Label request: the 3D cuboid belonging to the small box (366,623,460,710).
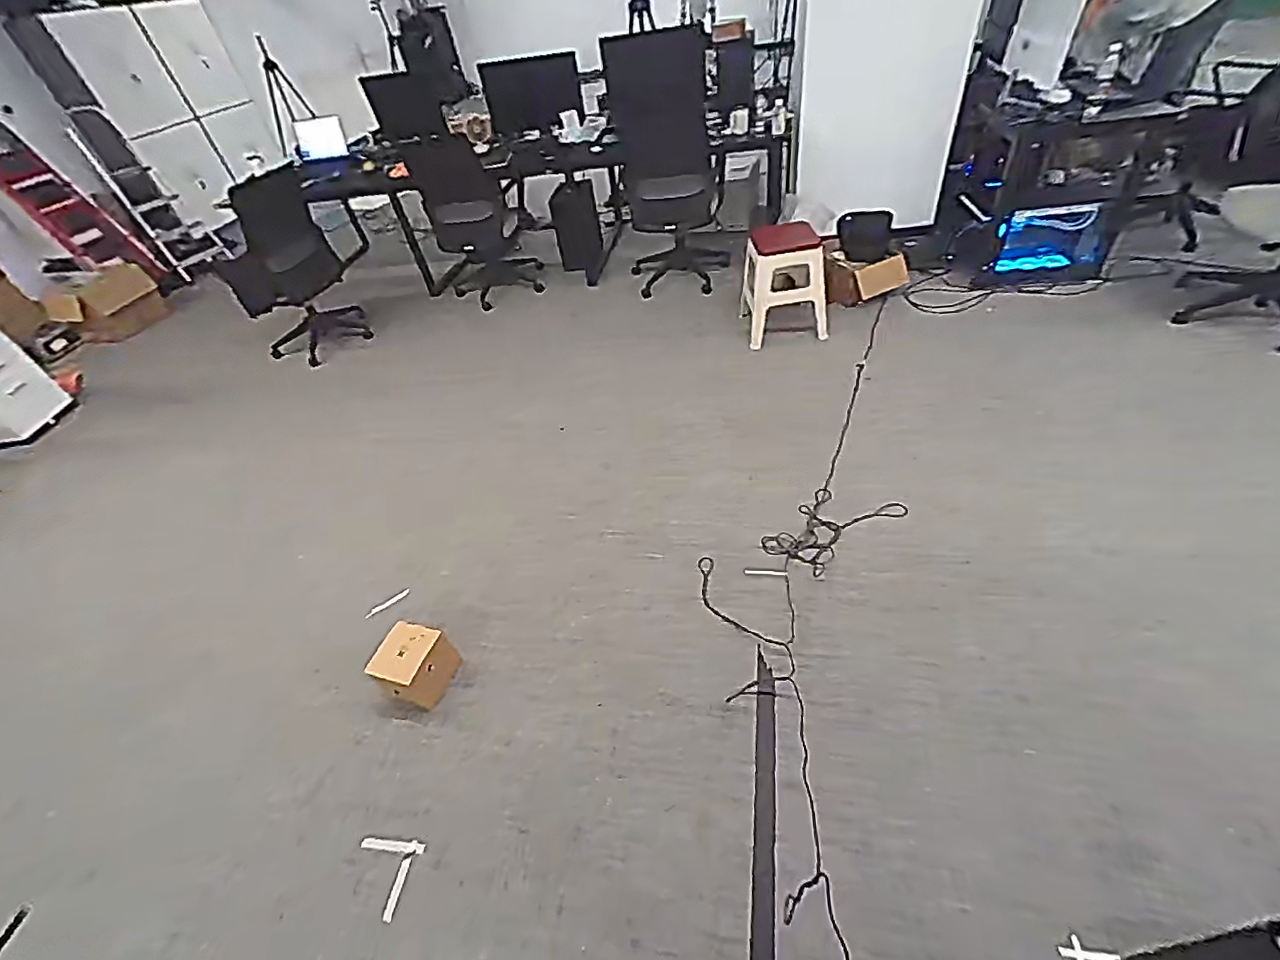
[{"bbox_3d":[-0.675,0.566,1.636,0.168,0.176,0.179,7,46,18],"label":"small box"}]
